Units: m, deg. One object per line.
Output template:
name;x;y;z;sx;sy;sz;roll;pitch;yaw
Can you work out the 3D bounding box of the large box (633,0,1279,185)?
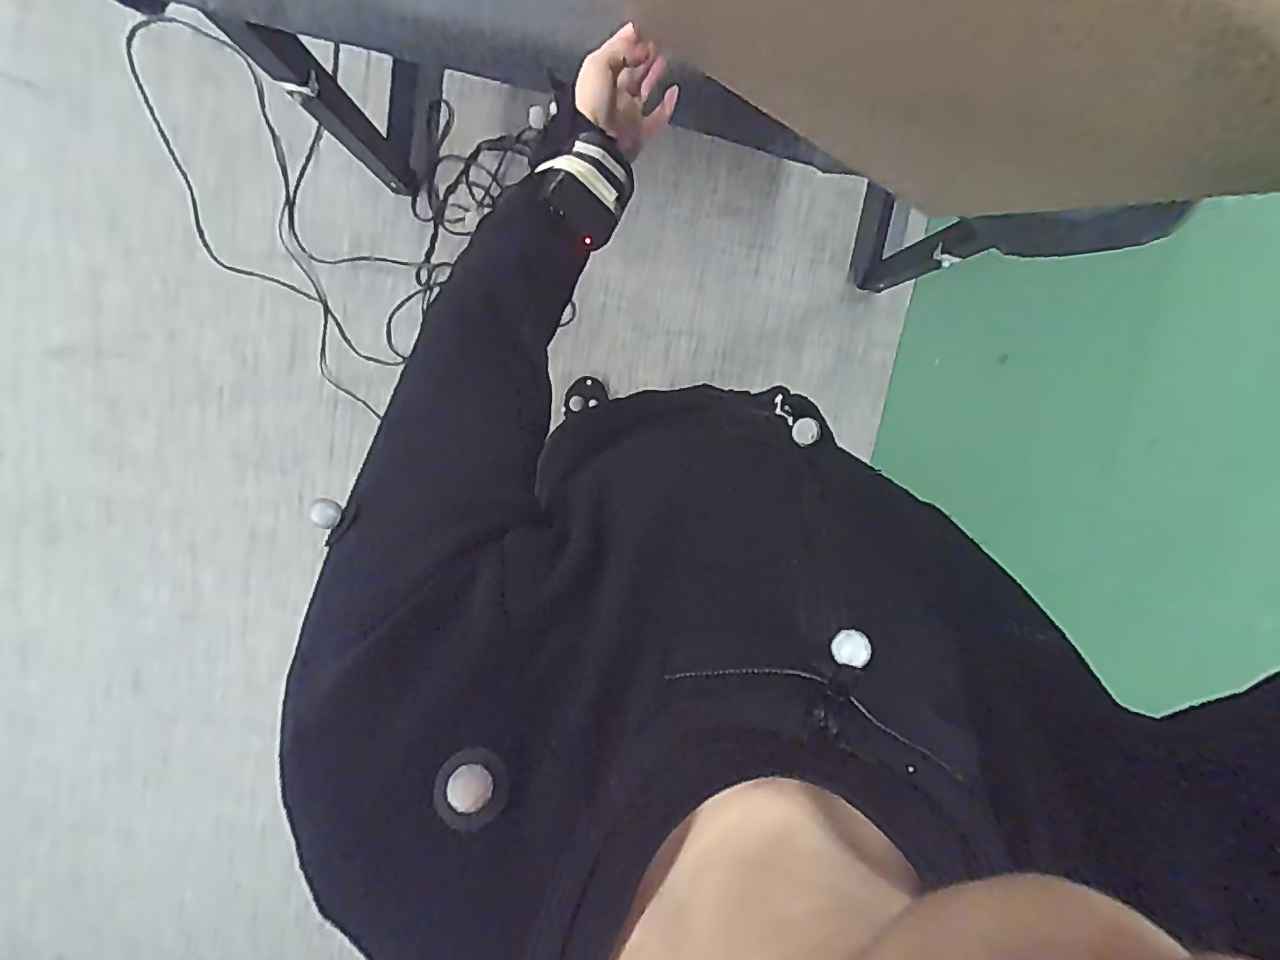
large box;0.166;-0.362;0.232;0.320;0.408;0.320;28;117;-6
